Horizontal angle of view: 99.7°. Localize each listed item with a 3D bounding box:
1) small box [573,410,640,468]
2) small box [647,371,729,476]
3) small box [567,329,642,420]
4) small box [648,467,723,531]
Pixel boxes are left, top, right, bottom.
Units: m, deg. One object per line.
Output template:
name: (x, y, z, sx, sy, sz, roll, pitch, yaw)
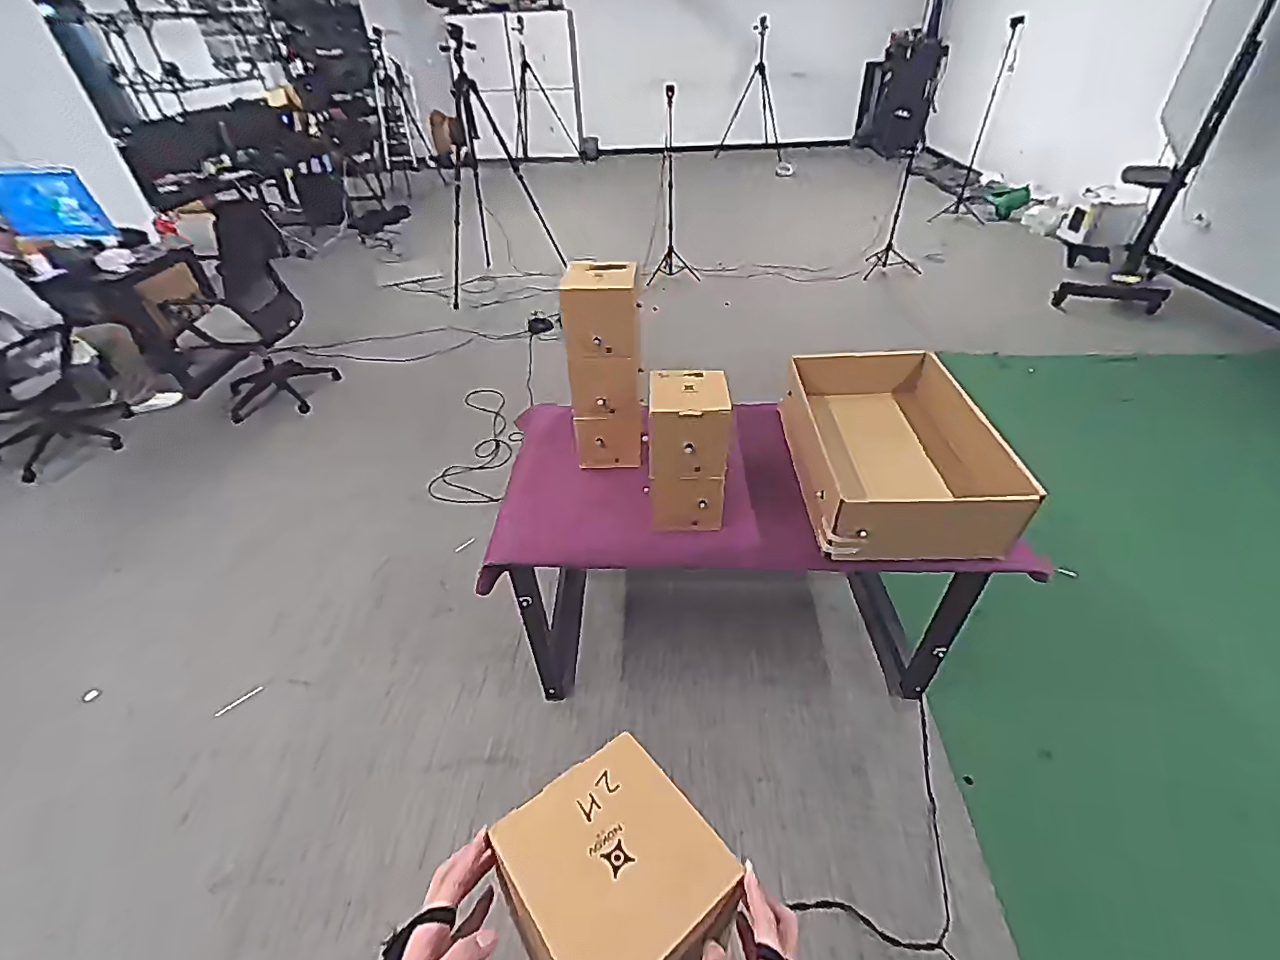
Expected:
small box: (-0.085, -0.143, 1.482, 0.168, 0.176, 0.179, -1, 39, 2)
small box: (0.102, -0.122, 1.188, 0.168, 0.176, 0.179, 1, 40, 2)
small box: (-0.083, -0.272, 1.379, 0.168, 0.176, 0.179, 1, 40, 5)
small box: (0.107, 0.007, 1.289, 0.168, 0.176, 0.179, 0, 38, 3)
